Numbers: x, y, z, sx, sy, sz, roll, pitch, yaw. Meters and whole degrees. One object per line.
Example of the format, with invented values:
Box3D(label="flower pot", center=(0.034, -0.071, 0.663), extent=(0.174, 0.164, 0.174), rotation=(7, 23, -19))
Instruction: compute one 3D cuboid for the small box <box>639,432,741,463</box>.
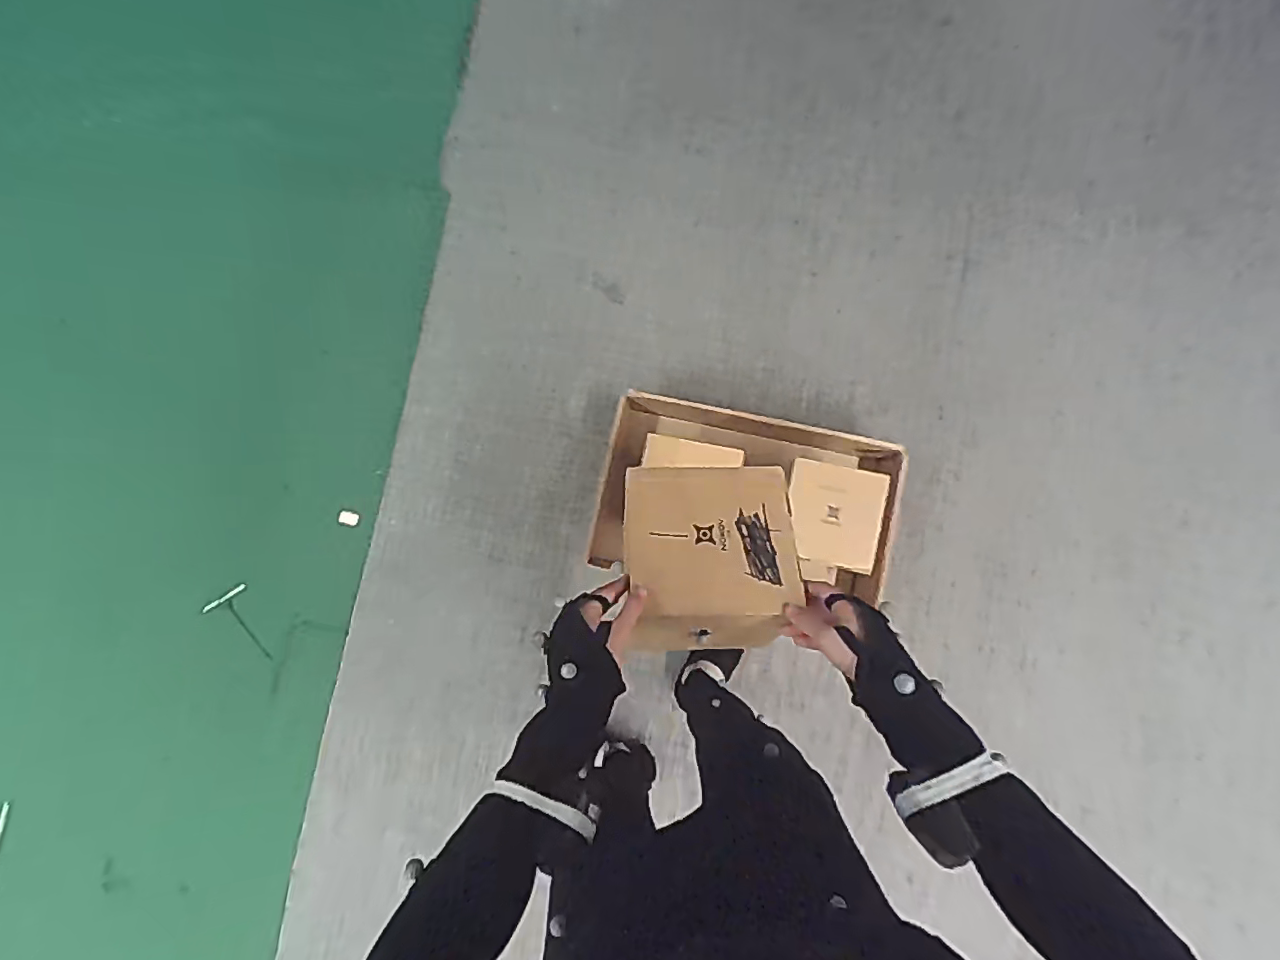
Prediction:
Box3D(label="small box", center=(0.084, 0.017, 1.039), extent=(0.179, 0.176, 0.168), rotation=(11, 85, 4))

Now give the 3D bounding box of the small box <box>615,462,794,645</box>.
Box3D(label="small box", center=(0.060, 0.091, 0.629), extent=(0.179, 0.176, 0.168), rotation=(-1, 61, -2))

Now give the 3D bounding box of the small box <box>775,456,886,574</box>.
Box3D(label="small box", center=(0.334, 0.067, 1.016), extent=(0.168, 0.176, 0.179), rotation=(13, 85, 5))
